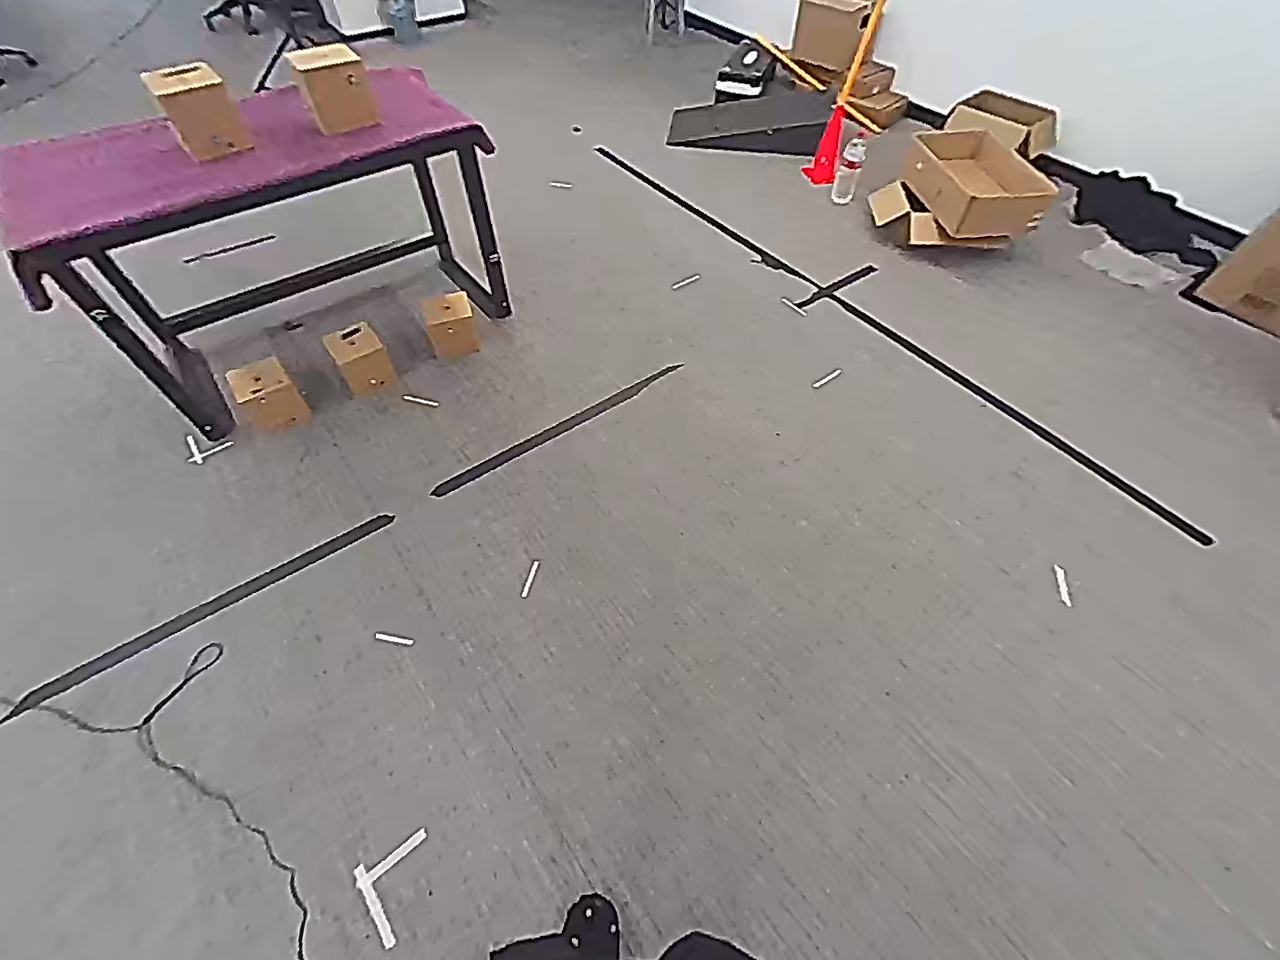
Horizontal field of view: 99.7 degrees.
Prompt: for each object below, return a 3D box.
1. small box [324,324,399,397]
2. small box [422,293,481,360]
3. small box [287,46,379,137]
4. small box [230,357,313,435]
[{"bbox_3d":[-1.028,-0.440,2.002,0.168,0.176,0.179,-32,62,-21],"label":"small box"},{"bbox_3d":[-0.735,-0.602,2.126,0.179,0.176,0.168,-17,57,-11],"label":"small box"},{"bbox_3d":[-0.914,-1.170,1.630,0.179,0.176,0.168,-30,59,-20],"label":"small box"},{"bbox_3d":[-1.286,-0.292,1.893,0.168,0.176,0.179,-30,60,-21],"label":"small box"}]
